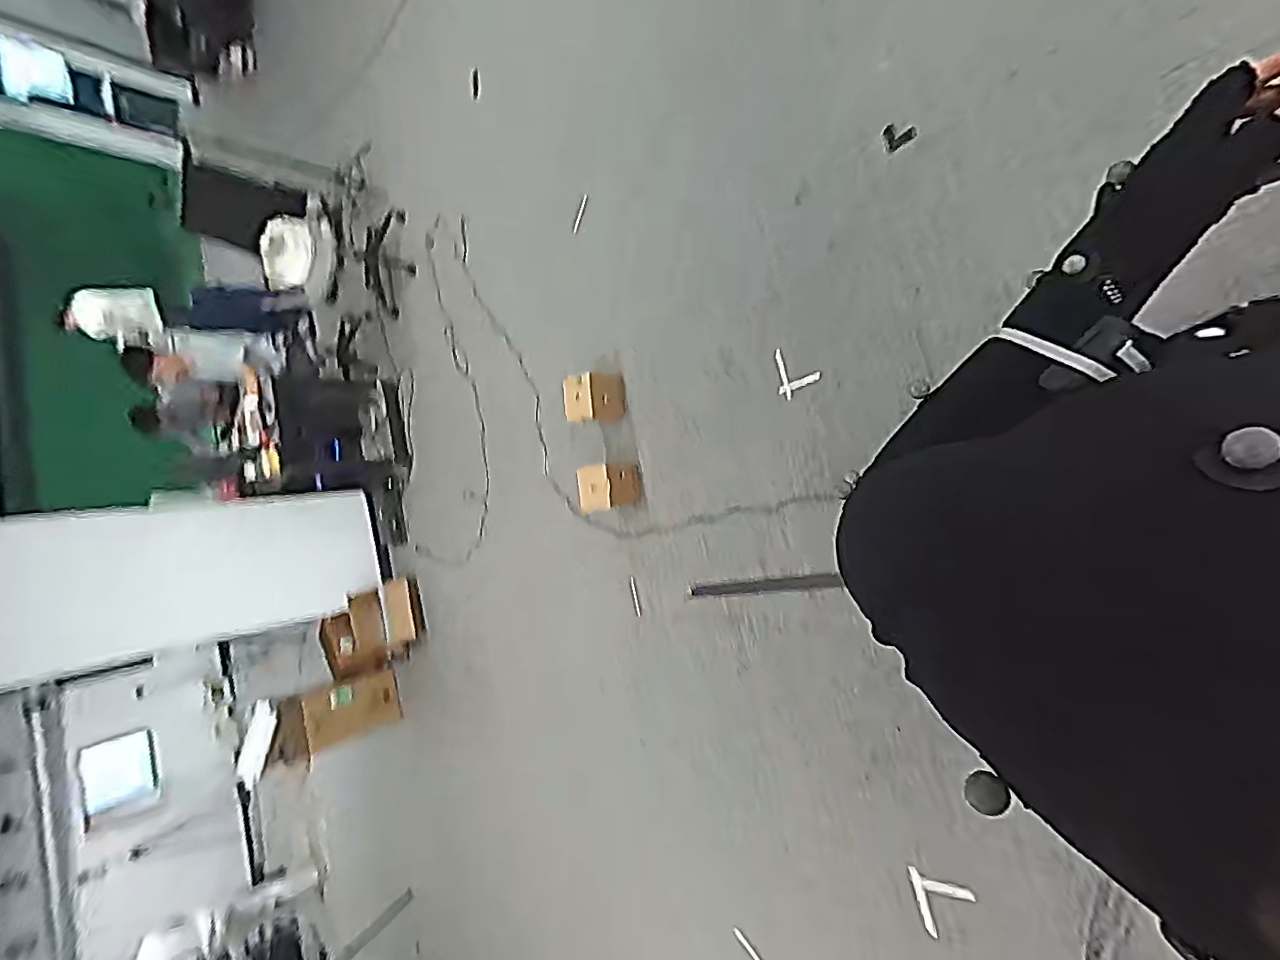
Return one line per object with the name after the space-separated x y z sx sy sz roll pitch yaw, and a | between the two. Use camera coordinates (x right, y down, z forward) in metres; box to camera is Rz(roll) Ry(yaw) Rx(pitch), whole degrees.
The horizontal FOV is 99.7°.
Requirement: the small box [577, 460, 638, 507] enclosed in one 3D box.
-0.123 0.014 2.143 0.179 0.176 0.168 -7 89 45 | small box

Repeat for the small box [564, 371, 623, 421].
-0.184 -0.335 2.161 0.168 0.176 0.179 -4 92 44 | small box
